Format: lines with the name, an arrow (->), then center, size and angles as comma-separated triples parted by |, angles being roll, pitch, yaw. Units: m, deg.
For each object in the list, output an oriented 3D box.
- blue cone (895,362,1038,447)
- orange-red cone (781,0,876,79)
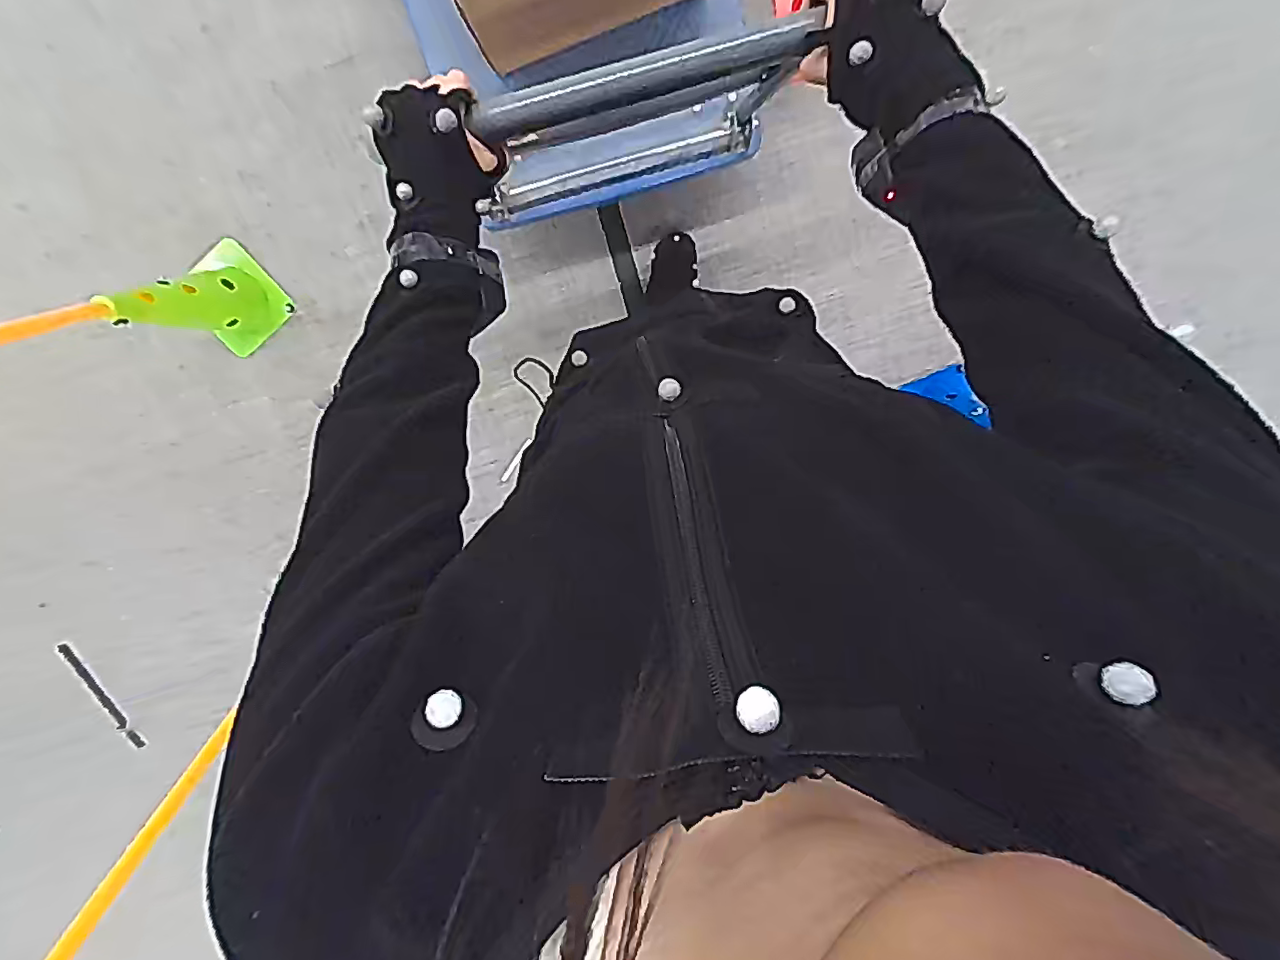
blue cone -> 0.790, -0.140, 1.276 | 0.193, 0.380, 0.192 | -21, 109, 4
orange-red cone -> 0.400, -0.901, 0.961 | 0.199, 0.360, 0.198 | -12, 111, 0
